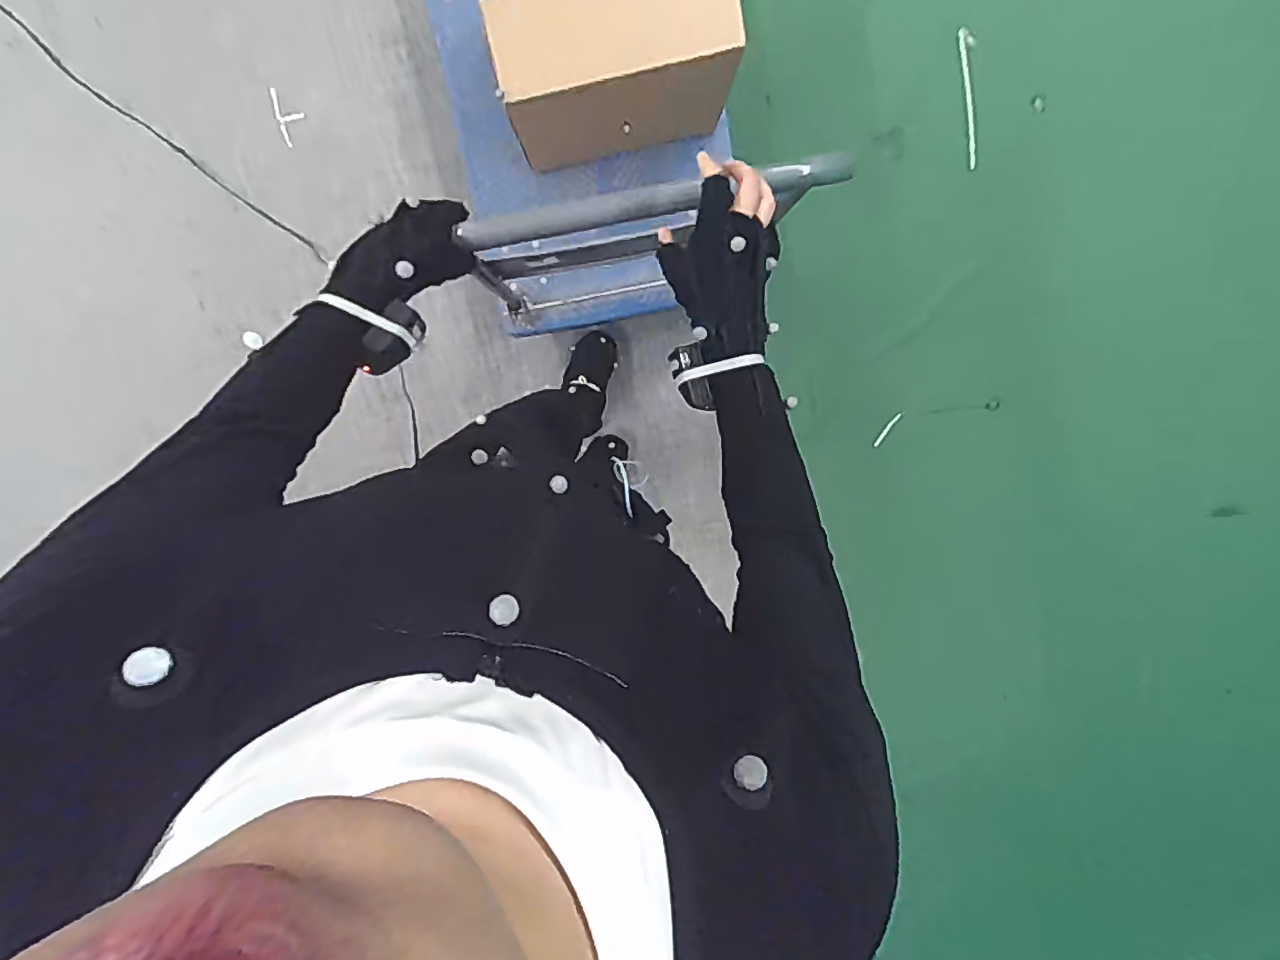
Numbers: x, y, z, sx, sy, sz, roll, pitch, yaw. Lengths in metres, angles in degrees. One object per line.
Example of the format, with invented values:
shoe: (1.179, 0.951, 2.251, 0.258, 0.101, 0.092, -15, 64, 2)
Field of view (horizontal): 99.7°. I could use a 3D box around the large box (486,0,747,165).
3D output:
large box: (-0.054, -0.843, 0.999, 0.408, 0.320, 0.320, -13, 101, 2)
